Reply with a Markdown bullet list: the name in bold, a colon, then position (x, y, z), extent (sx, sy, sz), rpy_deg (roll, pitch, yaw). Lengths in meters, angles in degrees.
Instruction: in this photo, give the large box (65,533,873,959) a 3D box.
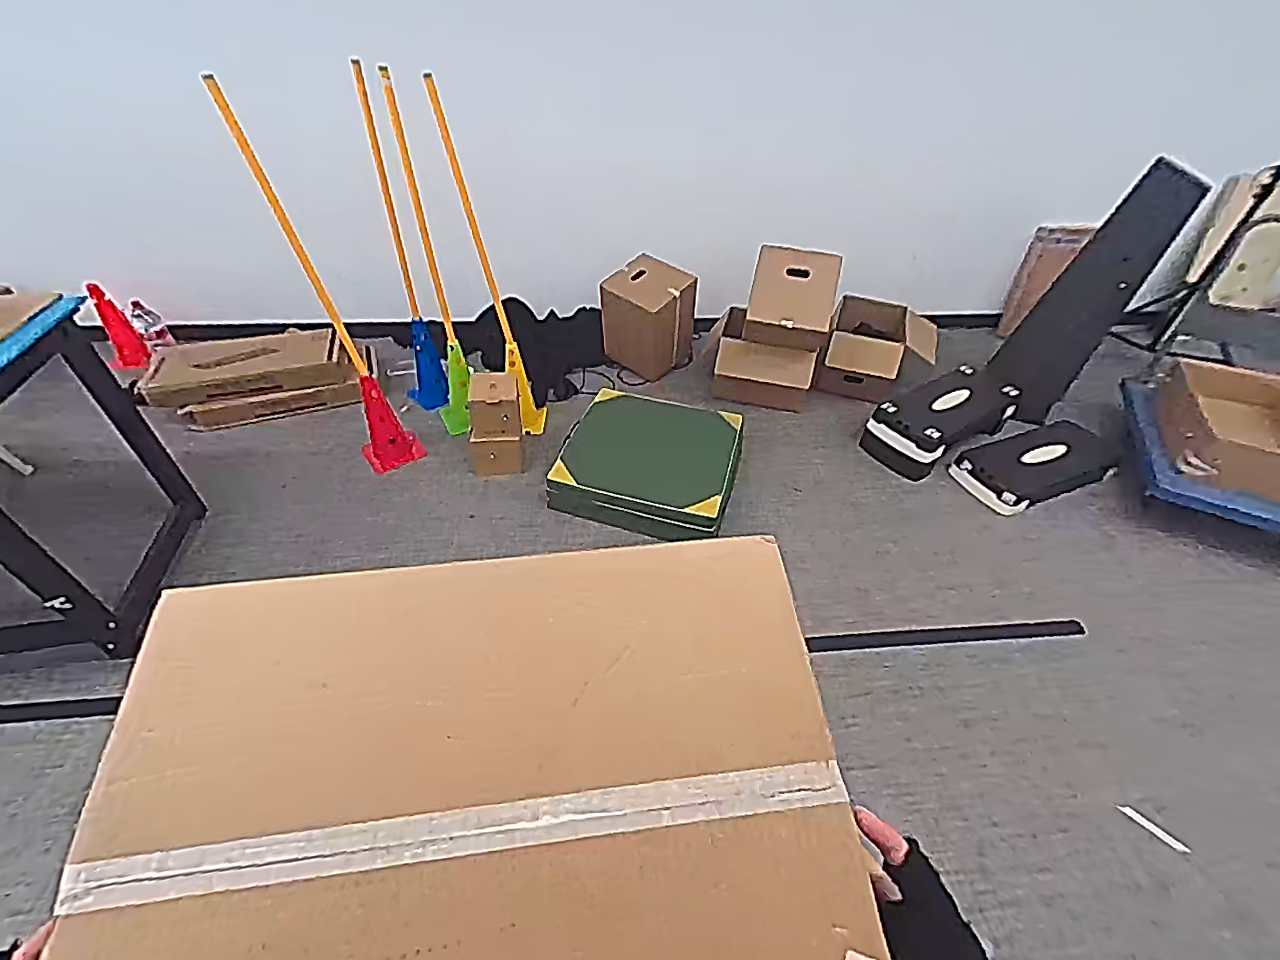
- **large box**: position (-0.094, 0.264, 0.429), extent (0.408, 0.320, 0.320), rpy_deg (-5, 60, -5)
